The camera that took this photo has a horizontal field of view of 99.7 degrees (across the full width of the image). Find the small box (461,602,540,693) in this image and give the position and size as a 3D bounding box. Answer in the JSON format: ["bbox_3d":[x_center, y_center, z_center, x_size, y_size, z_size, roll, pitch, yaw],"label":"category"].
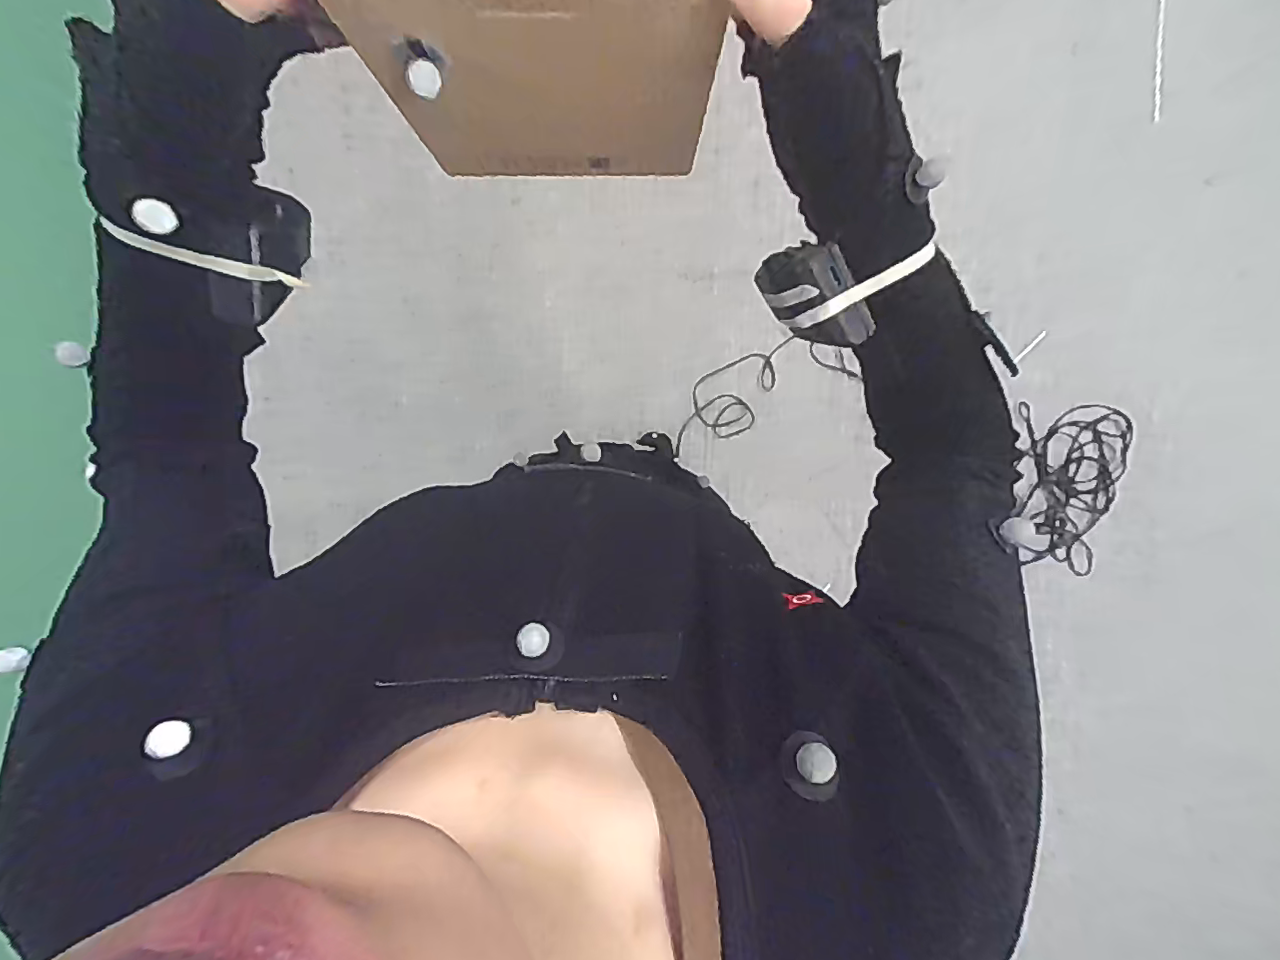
[{"bbox_3d":[-0.353,0.427,1.394,0.168,0.176,0.179,3,91,-3],"label":"small box"}]
